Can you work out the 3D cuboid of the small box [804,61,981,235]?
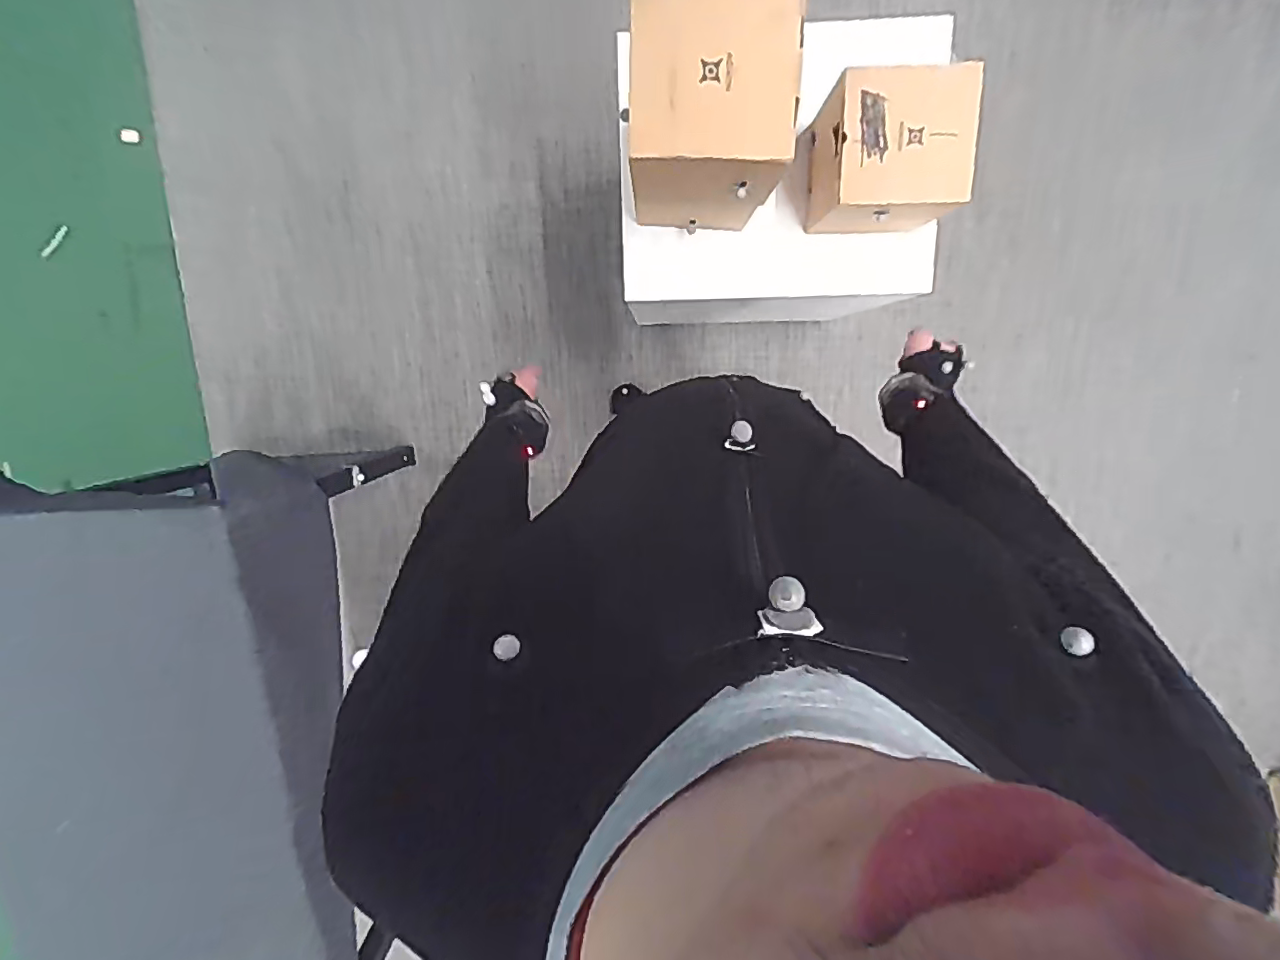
[{"bbox_3d":[0.343,-0.457,0.770,0.179,0.176,0.168,-2,101,-1],"label":"small box"}]

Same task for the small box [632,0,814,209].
[{"bbox_3d":[0.080,-0.420,0.610,0.179,0.176,0.168,0,100,0],"label":"small box"}]
